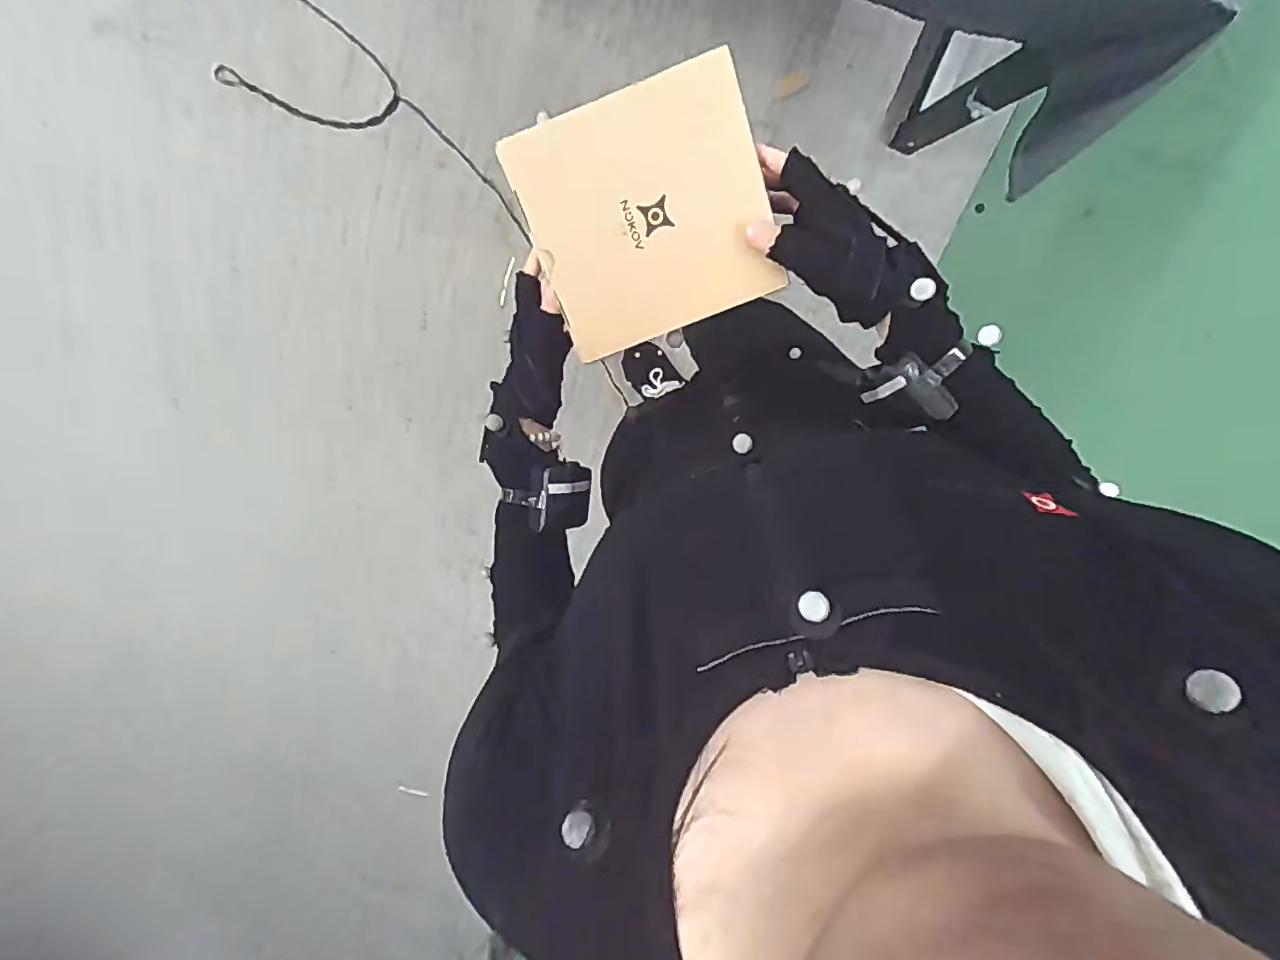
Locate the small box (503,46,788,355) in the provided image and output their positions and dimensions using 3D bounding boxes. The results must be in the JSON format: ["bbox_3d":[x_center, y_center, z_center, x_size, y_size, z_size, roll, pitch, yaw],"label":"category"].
[{"bbox_3d":[0.004,-0.225,0.475,0.179,0.176,0.168,-20,109,4],"label":"small box"}]
